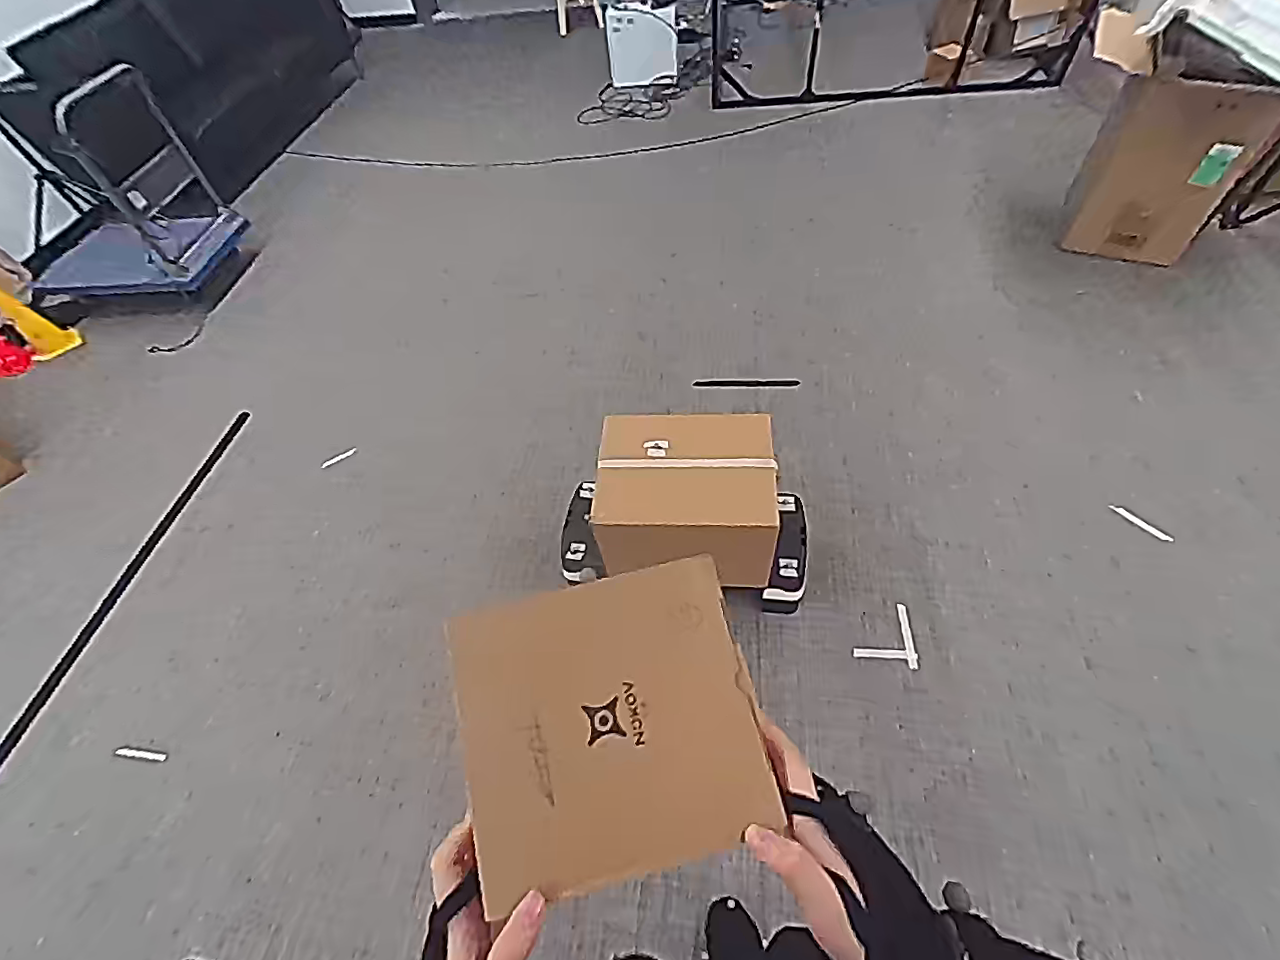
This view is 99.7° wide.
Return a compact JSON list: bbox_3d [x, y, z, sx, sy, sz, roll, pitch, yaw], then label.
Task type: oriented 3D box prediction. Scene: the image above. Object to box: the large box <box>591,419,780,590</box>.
[{"bbox_3d":[0.118,0.070,1.336,0.408,0.320,0.320,-1,54,8],"label":"large box"}]
